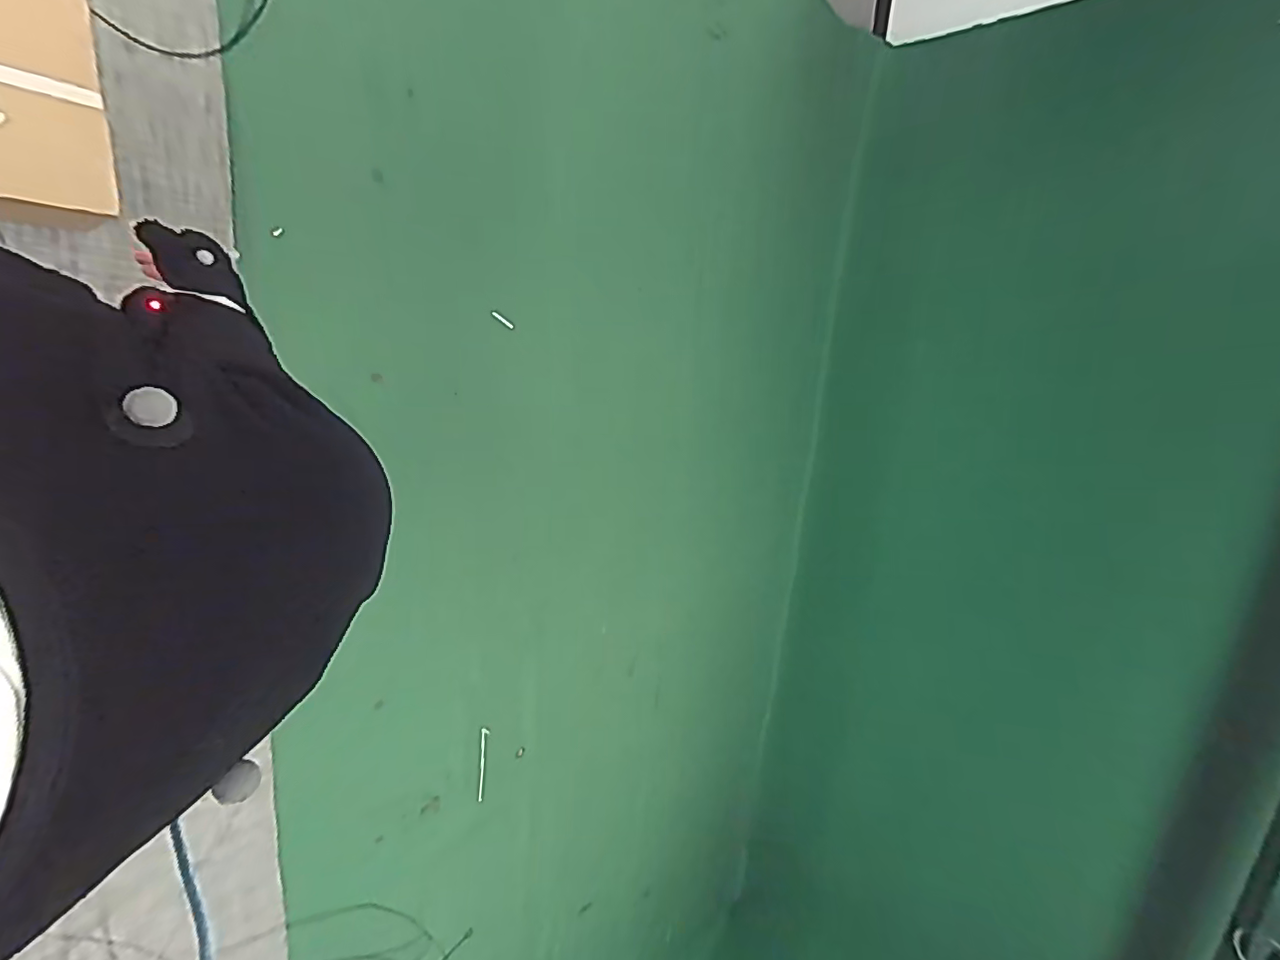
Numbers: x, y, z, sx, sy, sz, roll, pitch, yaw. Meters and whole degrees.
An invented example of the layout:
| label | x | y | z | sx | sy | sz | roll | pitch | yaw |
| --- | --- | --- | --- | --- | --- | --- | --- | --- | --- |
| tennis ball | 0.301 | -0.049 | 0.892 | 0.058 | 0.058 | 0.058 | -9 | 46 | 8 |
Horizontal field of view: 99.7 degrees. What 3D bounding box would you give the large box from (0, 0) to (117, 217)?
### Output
| label | x | y | z | sx | sy | sz | roll | pitch | yaw |
| --- | --- | --- | --- | --- | --- | --- | --- | --- | --- |
| large box | -1.041 | -0.577 | 0.739 | 0.408 | 0.320 | 0.320 | -13 | 113 | -49 |
